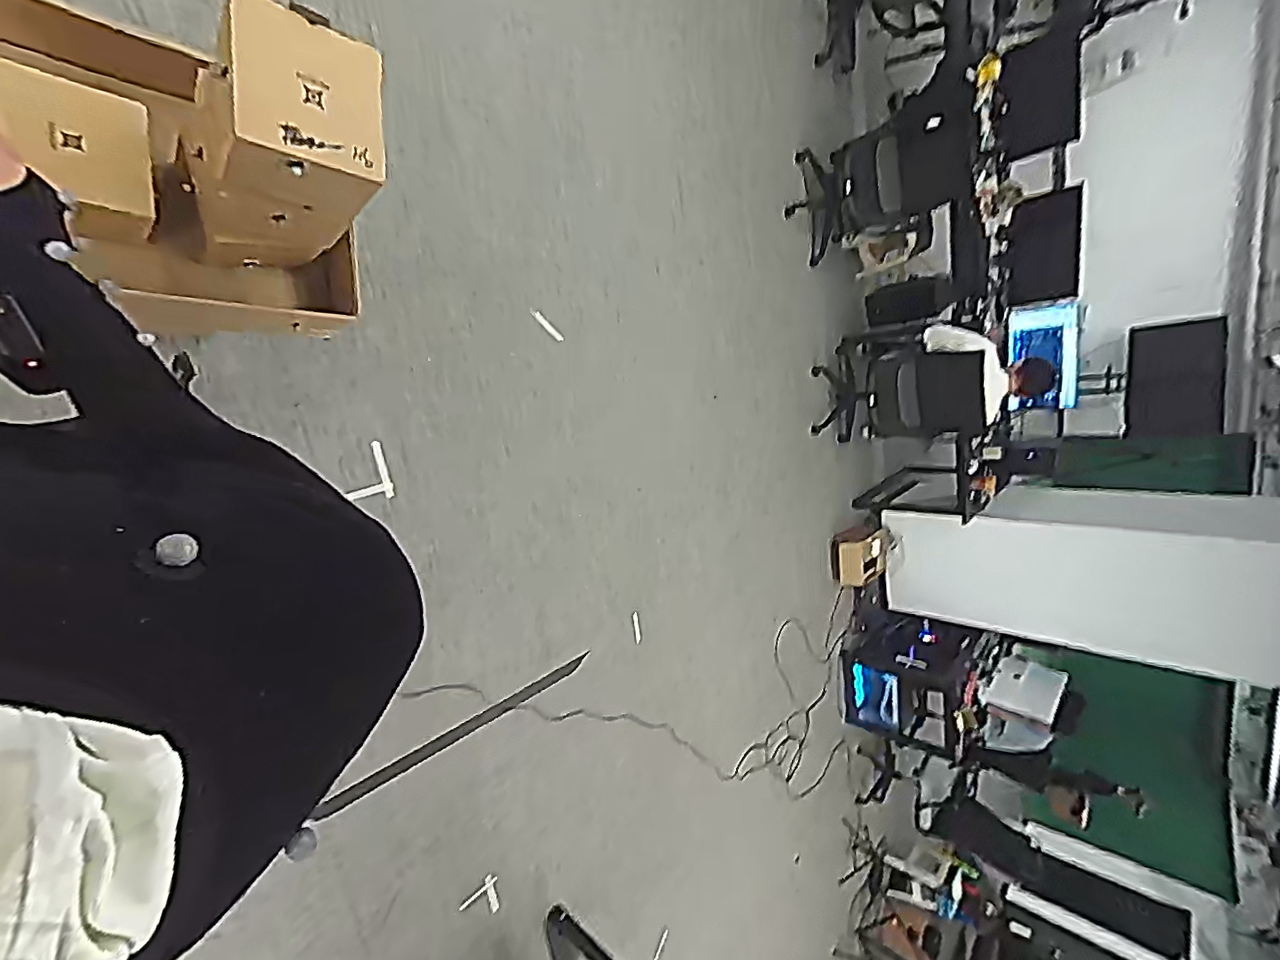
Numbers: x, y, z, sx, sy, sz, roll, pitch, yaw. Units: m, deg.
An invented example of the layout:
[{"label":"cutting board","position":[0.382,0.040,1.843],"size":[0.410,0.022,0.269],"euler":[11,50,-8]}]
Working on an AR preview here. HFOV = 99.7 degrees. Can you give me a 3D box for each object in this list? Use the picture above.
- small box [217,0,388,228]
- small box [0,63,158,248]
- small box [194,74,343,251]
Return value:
[{"label":"small box","position":[-0.449,-0.469,0.717],"size":[0.168,0.176,0.179],"euler":[-2,92,-43]},{"label":"small box","position":[-0.839,-0.459,0.795],"size":[0.179,0.176,0.168],"euler":[-5,95,-45]},{"label":"small box","position":[-0.565,-0.469,0.834],"size":[0.179,0.176,0.168],"euler":[-11,99,-43]}]
